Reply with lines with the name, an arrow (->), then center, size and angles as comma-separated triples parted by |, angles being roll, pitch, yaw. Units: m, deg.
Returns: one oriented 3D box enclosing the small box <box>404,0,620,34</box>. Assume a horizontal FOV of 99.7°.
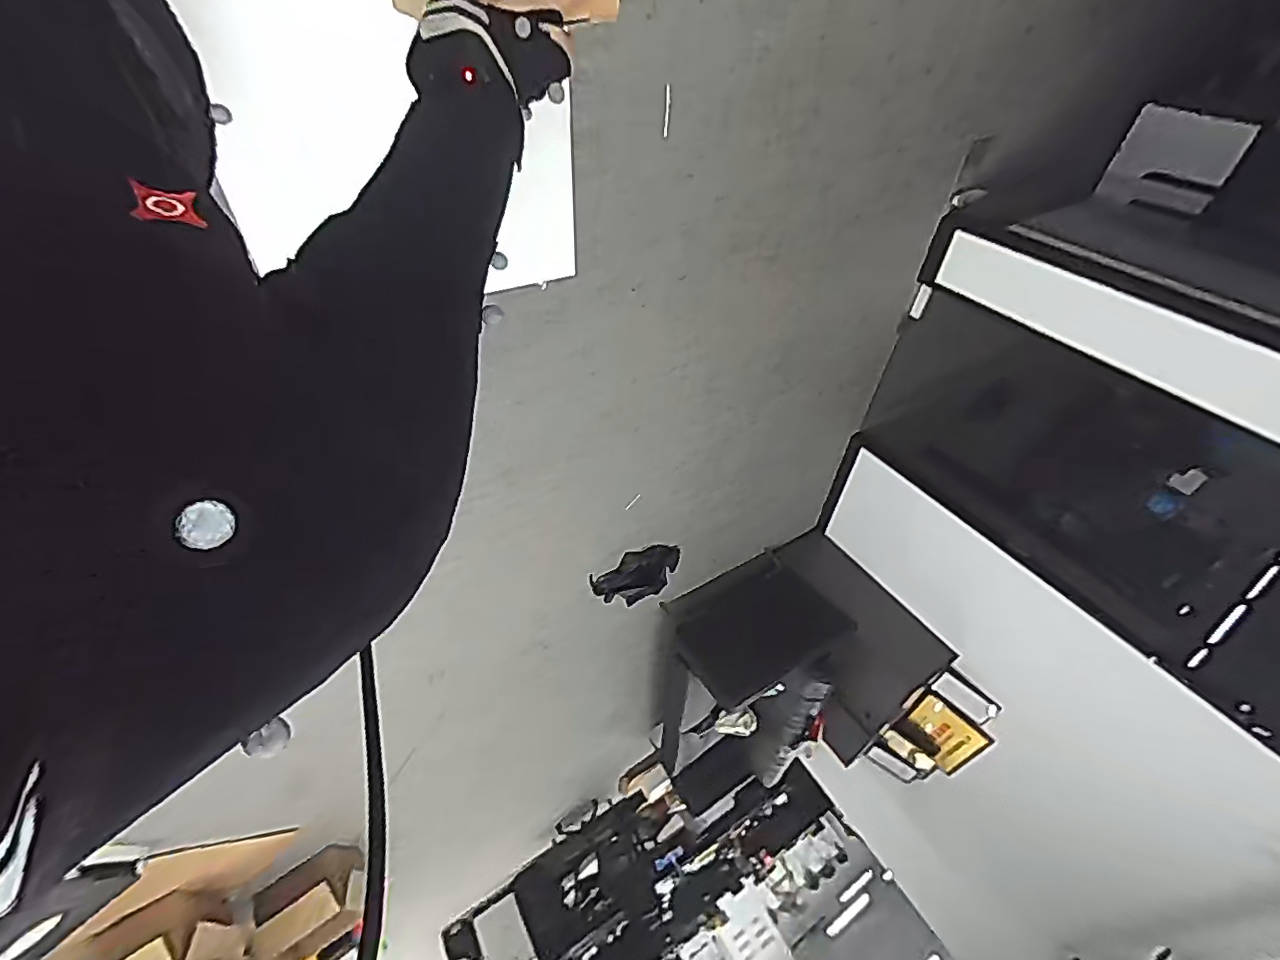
small box -> -0.129, -0.503, 0.452 | 0.168, 0.176, 0.179 | -25, 142, -22
